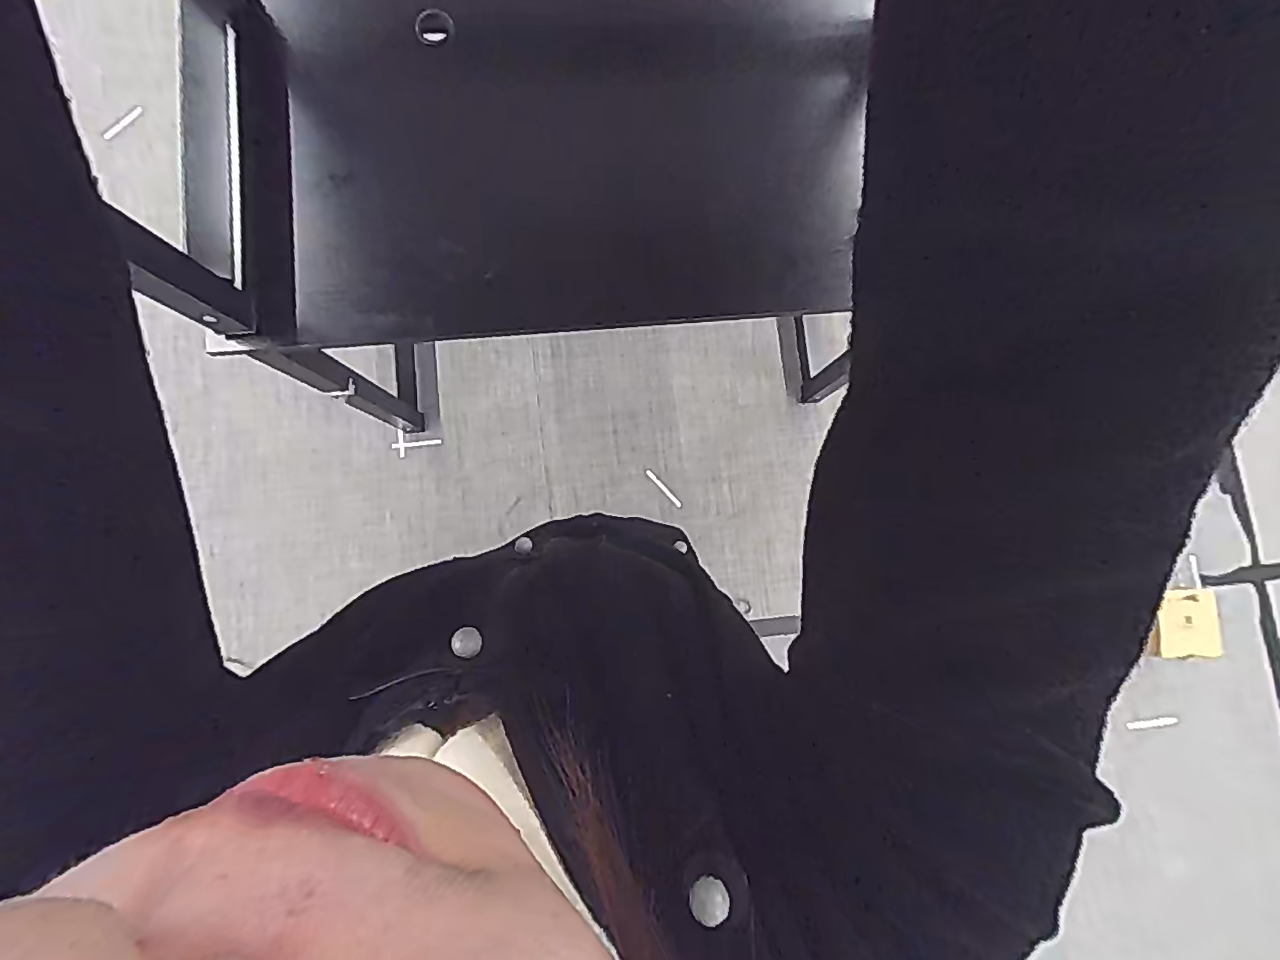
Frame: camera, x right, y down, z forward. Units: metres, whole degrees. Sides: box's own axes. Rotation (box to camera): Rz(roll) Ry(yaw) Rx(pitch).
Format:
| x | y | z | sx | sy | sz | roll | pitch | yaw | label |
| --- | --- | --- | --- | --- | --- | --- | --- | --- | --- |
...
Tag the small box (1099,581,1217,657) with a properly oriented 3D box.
| x | y | z | sx | sy | sz | roll | pitch | yaw | label |
| --- | --- | --- | --- | --- | --- | --- | --- | --- | --- |
| 1.415 | 0.378 | 1.488 | 0.168 | 0.176 | 0.179 | 0 | 86 | -3 | small box |
